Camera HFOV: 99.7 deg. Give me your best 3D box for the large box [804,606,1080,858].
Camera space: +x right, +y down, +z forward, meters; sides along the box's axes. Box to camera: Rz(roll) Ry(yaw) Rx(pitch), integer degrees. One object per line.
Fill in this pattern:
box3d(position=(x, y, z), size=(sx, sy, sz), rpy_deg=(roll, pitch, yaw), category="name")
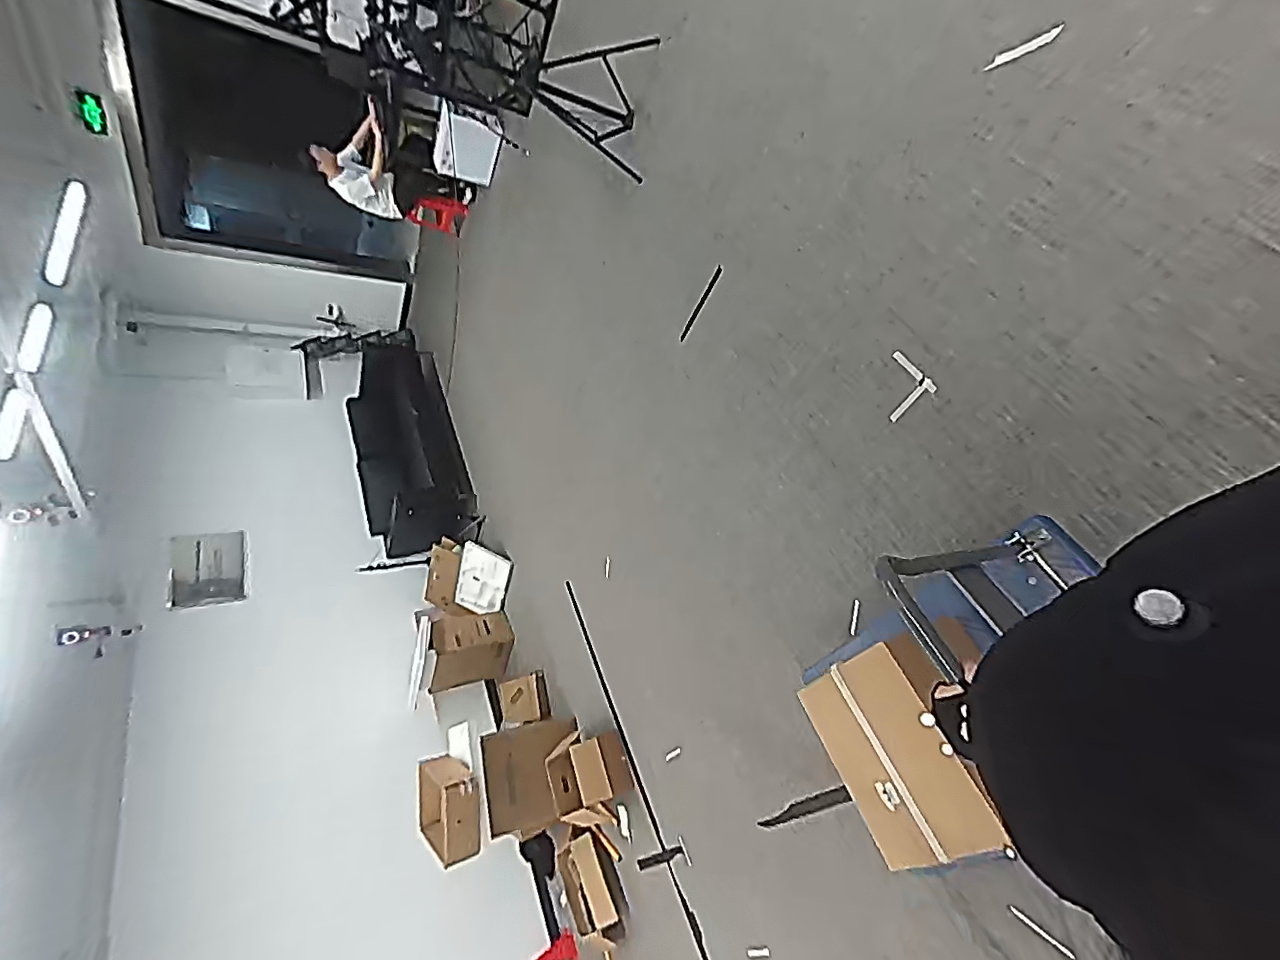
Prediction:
box3d(position=(0.673, 0.561, 1.250), size=(0.320, 0.320, 0.408), rpy_deg=(-57, 48, 42), category="large box")
